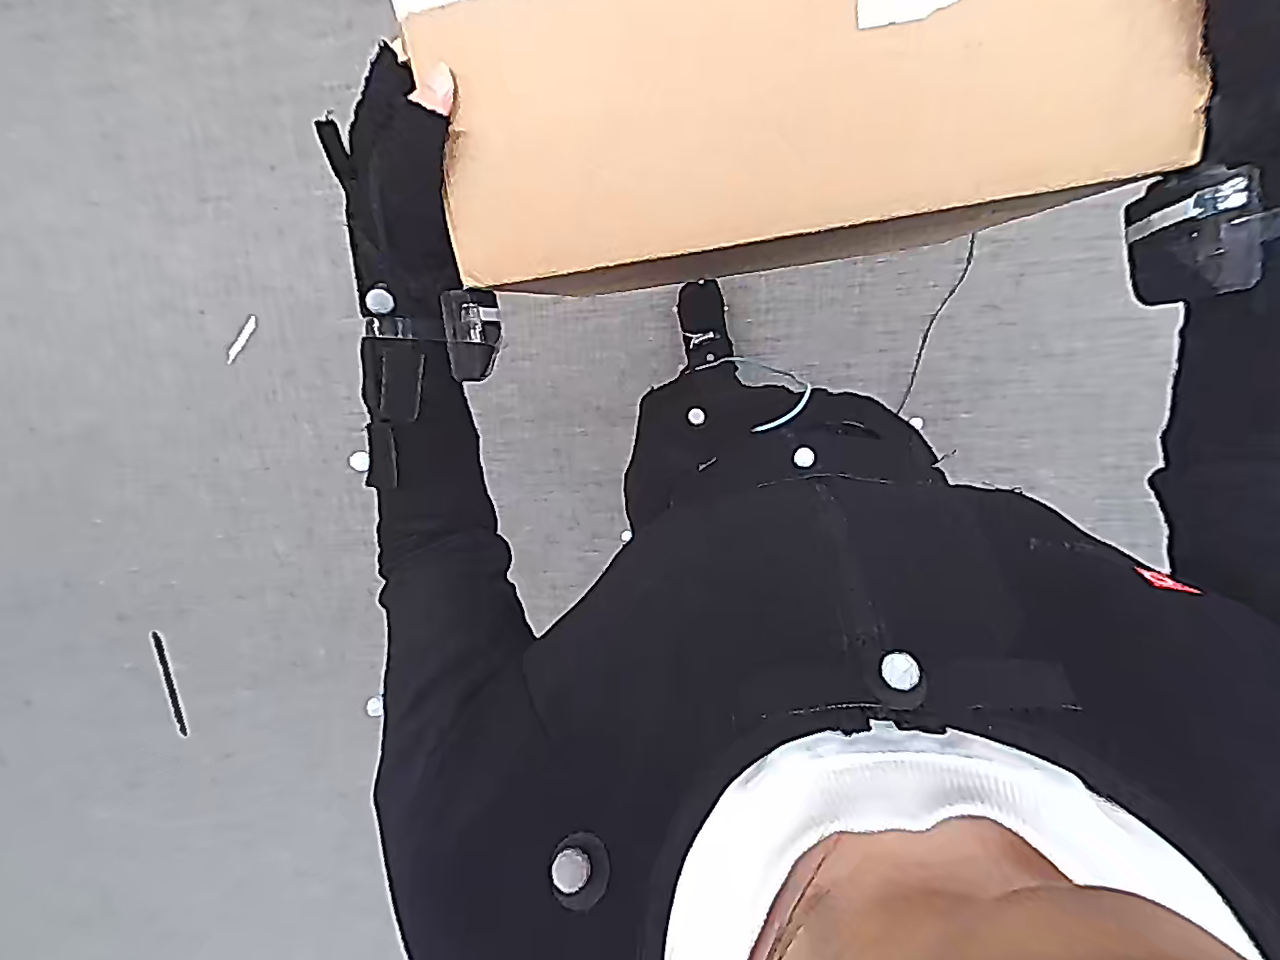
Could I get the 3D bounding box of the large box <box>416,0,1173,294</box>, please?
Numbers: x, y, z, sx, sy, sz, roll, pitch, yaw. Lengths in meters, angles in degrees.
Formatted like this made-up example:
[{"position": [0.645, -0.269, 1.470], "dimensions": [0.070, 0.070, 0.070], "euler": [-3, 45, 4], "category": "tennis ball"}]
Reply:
[{"position": [0.079, -0.344, 0.424], "dimensions": [0.408, 0.320, 0.320], "euler": [-6, 107, 9], "category": "large box"}]
